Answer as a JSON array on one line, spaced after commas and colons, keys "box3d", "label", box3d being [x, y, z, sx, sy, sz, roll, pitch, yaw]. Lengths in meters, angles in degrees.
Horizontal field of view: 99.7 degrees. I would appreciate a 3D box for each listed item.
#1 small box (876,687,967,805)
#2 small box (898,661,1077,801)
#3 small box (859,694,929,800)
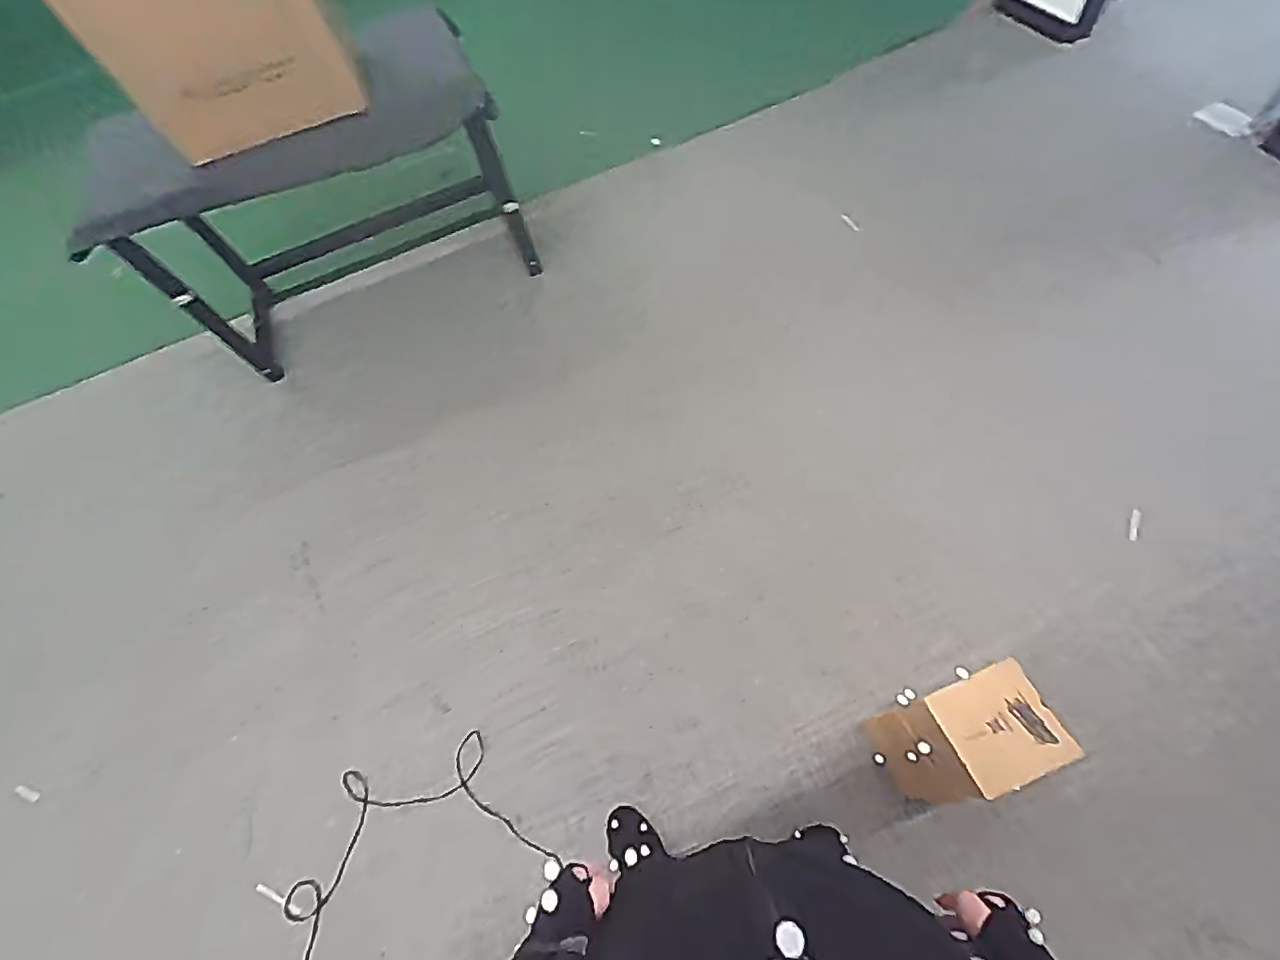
[{"box3d": [0.615, 0.528, 1.099, 0.168, 0.176, 0.179, -24, 64, -4], "label": "small box"}, {"box3d": [0.597, 0.442, 0.958, 0.179, 0.176, 0.168, -23, 61, -3], "label": "small box"}, {"box3d": [0.635, 0.602, 1.241, 0.168, 0.176, 0.179, -23, 62, -5], "label": "small box"}]
